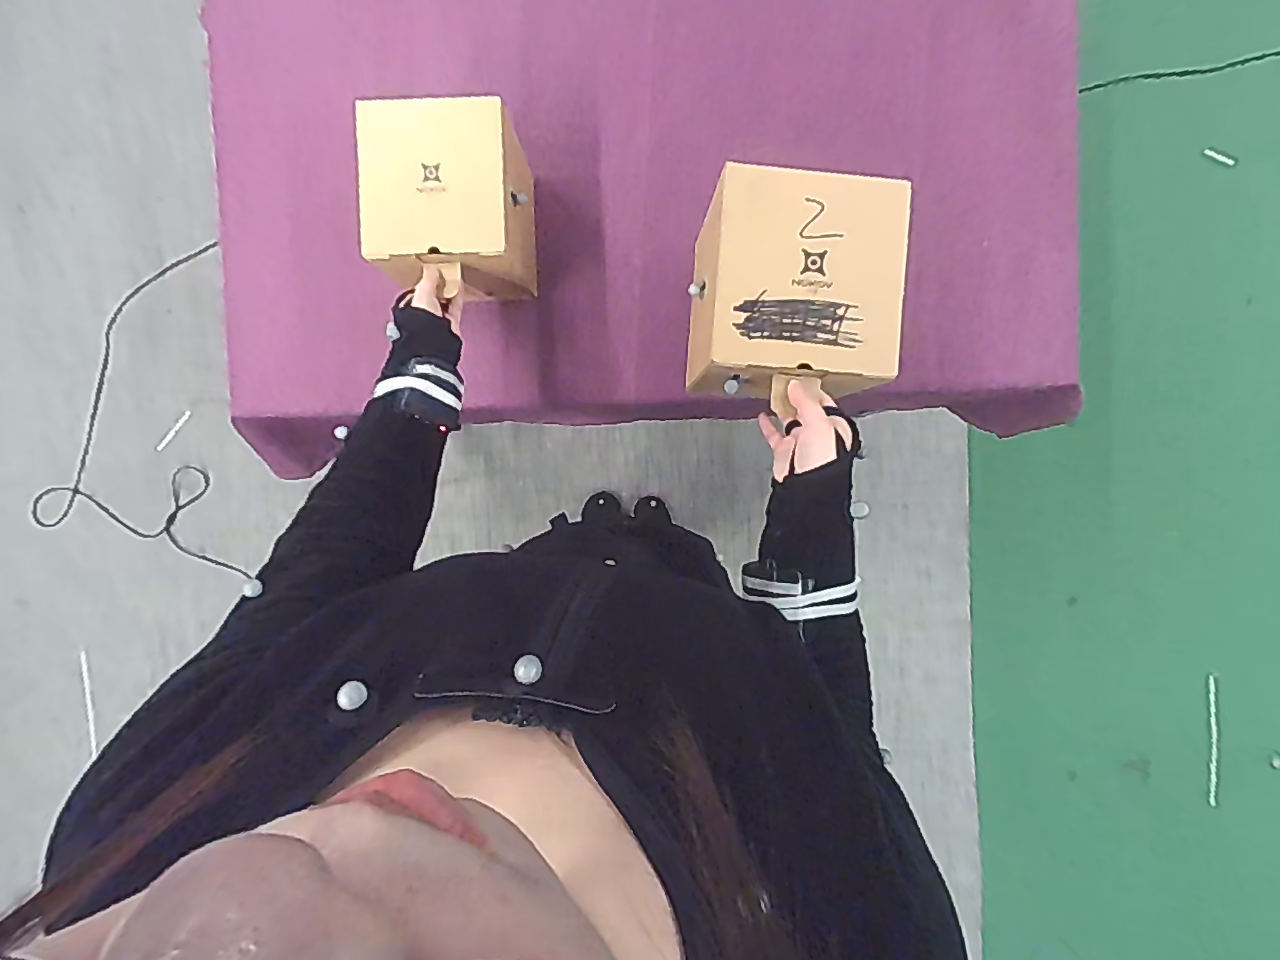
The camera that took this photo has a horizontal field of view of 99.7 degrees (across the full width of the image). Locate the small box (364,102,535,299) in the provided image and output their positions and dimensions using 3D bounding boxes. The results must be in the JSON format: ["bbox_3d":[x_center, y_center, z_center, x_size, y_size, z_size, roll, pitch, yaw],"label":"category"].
[{"bbox_3d":[-0.235,-0.348,0.701,0.168,0.176,0.179,-1,93,1],"label":"small box"}]
